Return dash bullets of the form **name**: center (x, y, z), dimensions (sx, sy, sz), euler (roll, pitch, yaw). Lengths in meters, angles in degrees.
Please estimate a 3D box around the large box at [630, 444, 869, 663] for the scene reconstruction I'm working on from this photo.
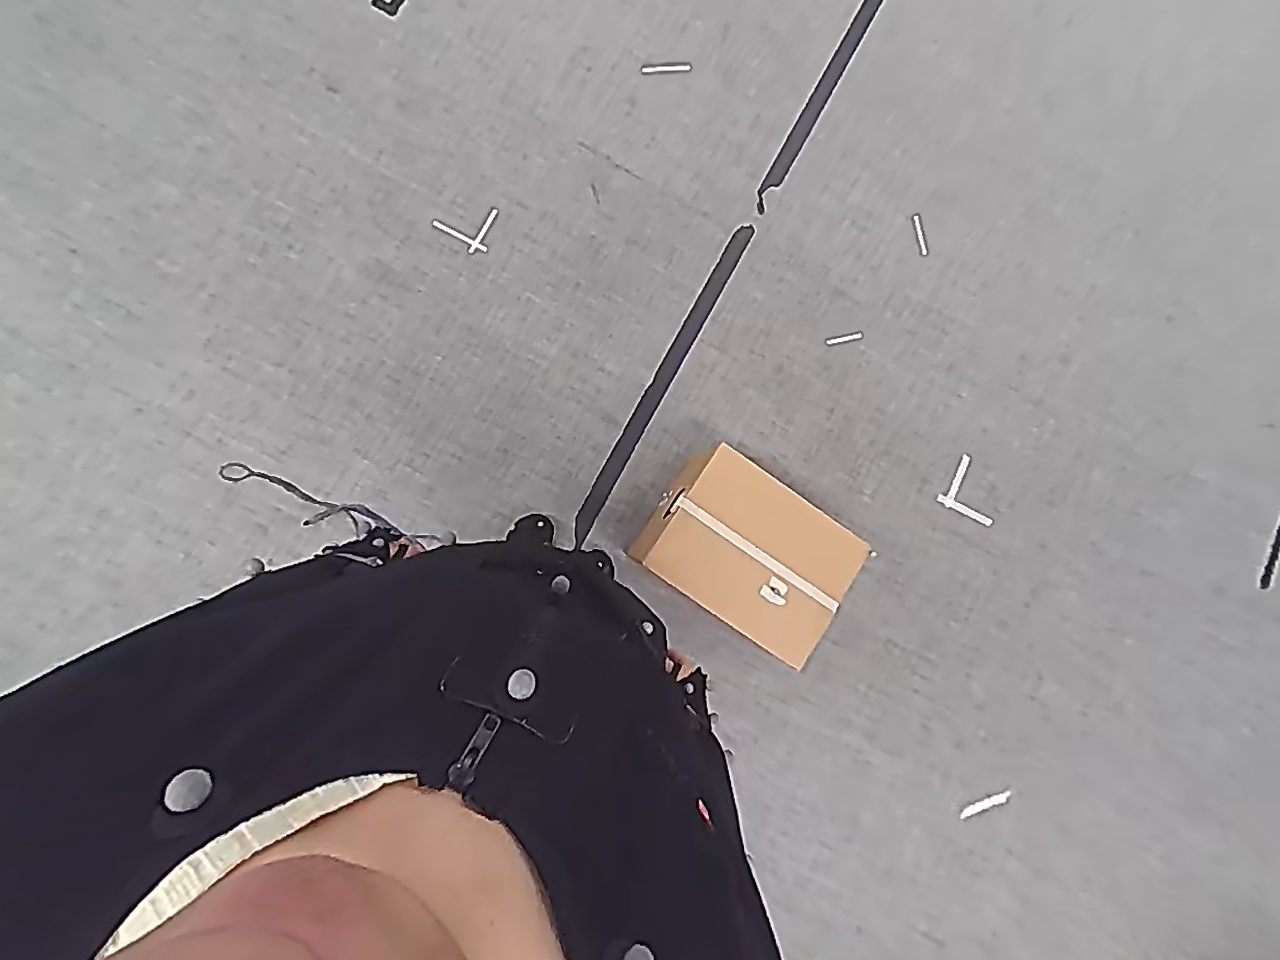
- **large box**: center (0.234, 0.164, 1.286), dimensions (0.408, 0.320, 0.320), euler (34, 83, -4)
